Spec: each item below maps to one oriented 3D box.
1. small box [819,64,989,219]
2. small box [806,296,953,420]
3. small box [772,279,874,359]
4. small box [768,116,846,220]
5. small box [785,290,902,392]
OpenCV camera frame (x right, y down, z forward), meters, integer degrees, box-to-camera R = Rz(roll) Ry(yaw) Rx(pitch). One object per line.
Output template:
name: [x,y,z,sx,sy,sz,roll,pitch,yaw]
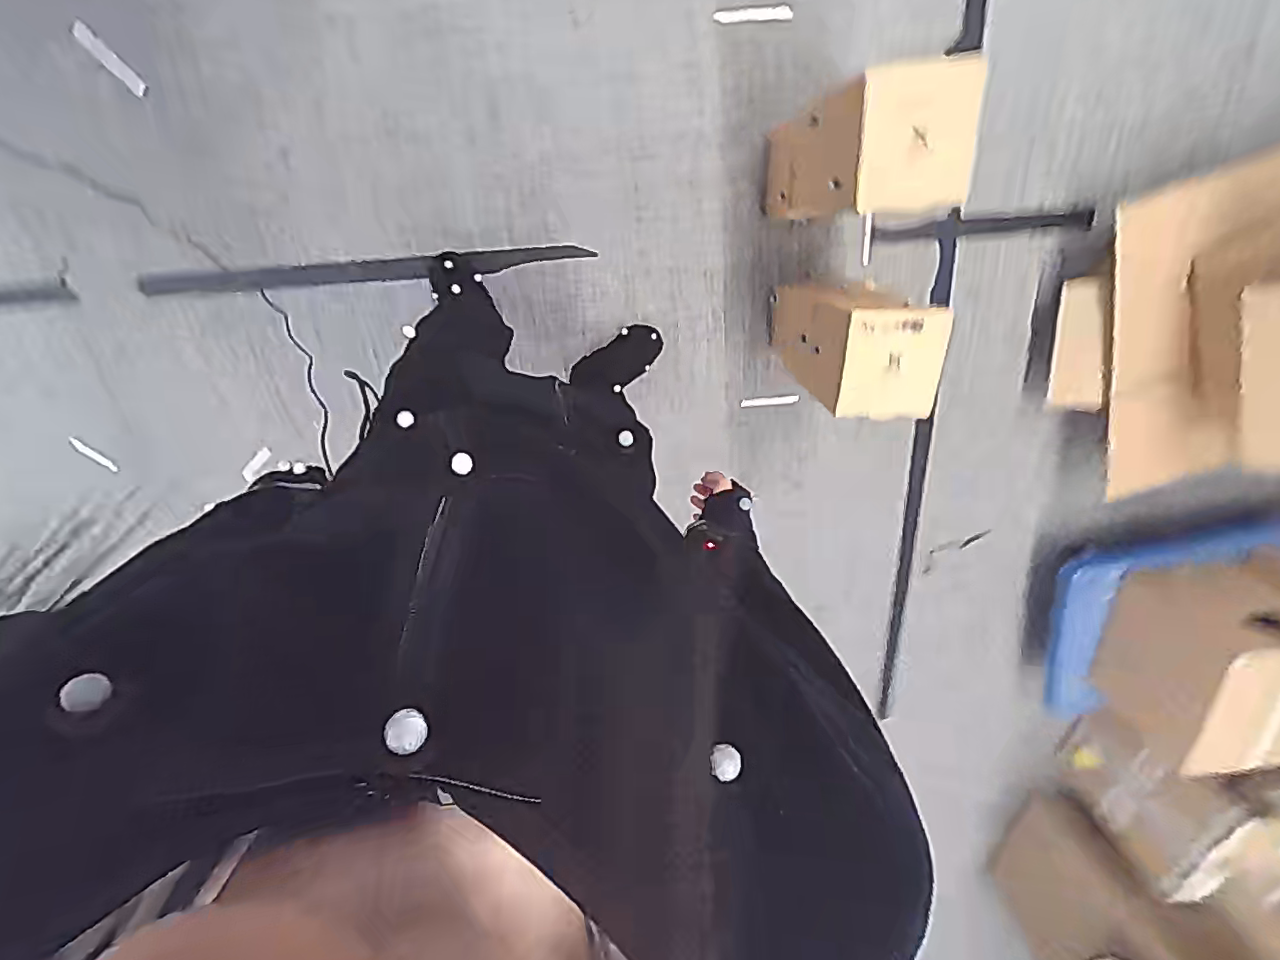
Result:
small box: [0.383,-0.501,0.822,0.168,0.176,0.179,-6,115,-2]
small box: [0.406,-0.218,0.955,0.168,0.176,0.179,0,117,-3]
small box: [0.411,-0.366,1.249,0.179,0.176,0.168,-5,116,-1]
small box: [0.369,-0.638,1.118,0.168,0.176,0.179,-4,116,-2]
small box: [0.402,-0.289,1.103,0.168,0.176,0.179,-3,116,-1]
